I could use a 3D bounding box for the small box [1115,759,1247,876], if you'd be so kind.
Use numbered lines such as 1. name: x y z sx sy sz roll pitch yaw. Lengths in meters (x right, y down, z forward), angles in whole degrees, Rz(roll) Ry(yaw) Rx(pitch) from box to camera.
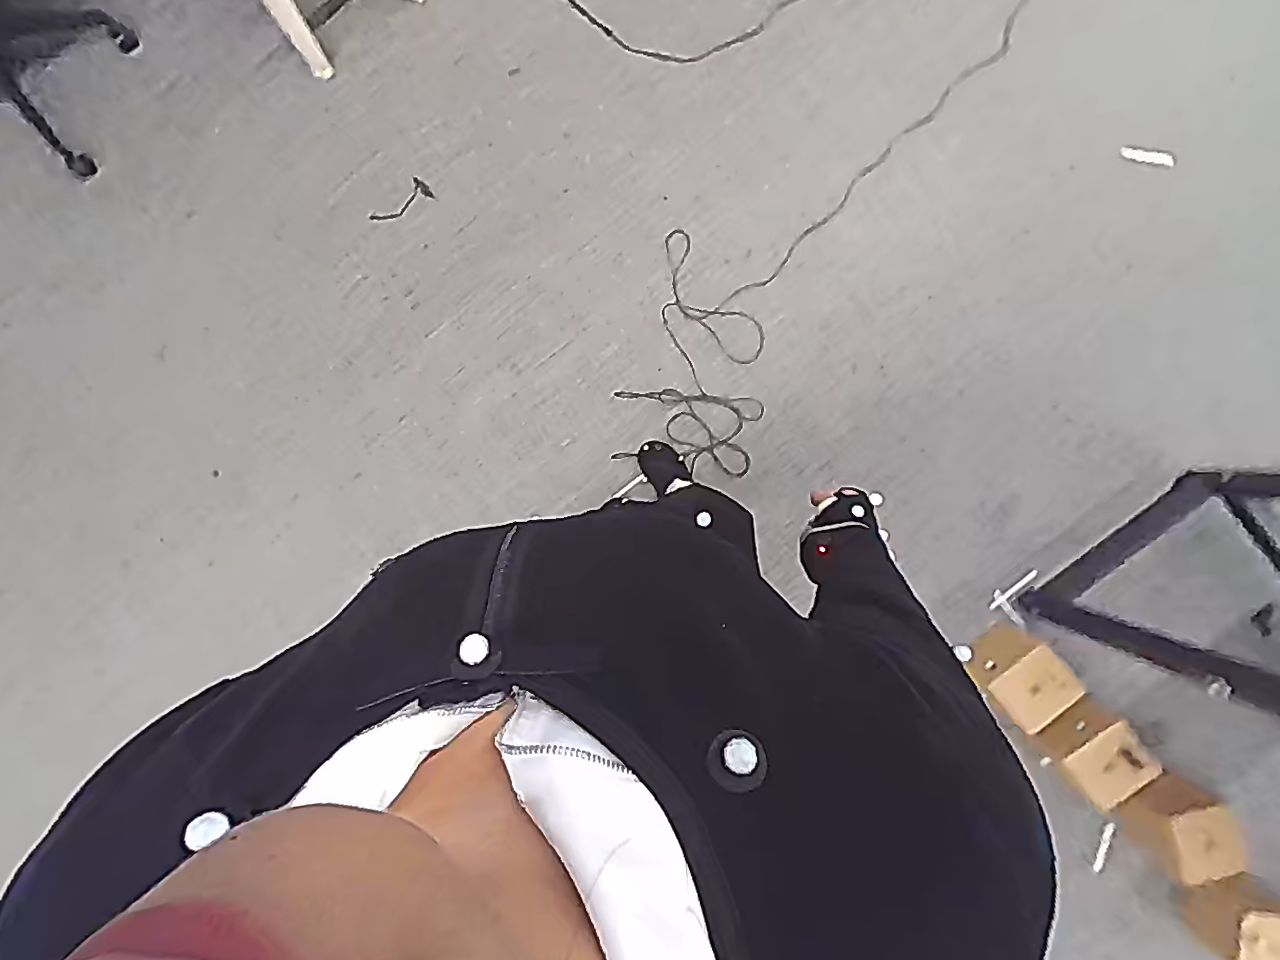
1. small box: 1.385 0.866 1.403 0.168 0.176 0.179 -17 90 2

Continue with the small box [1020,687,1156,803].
1. small box: 1.150 0.677 1.404 0.179 0.176 0.168 -39 90 4

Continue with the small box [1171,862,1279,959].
1. small box: 1.554 1.117 1.403 0.179 0.176 0.168 5 92 2
